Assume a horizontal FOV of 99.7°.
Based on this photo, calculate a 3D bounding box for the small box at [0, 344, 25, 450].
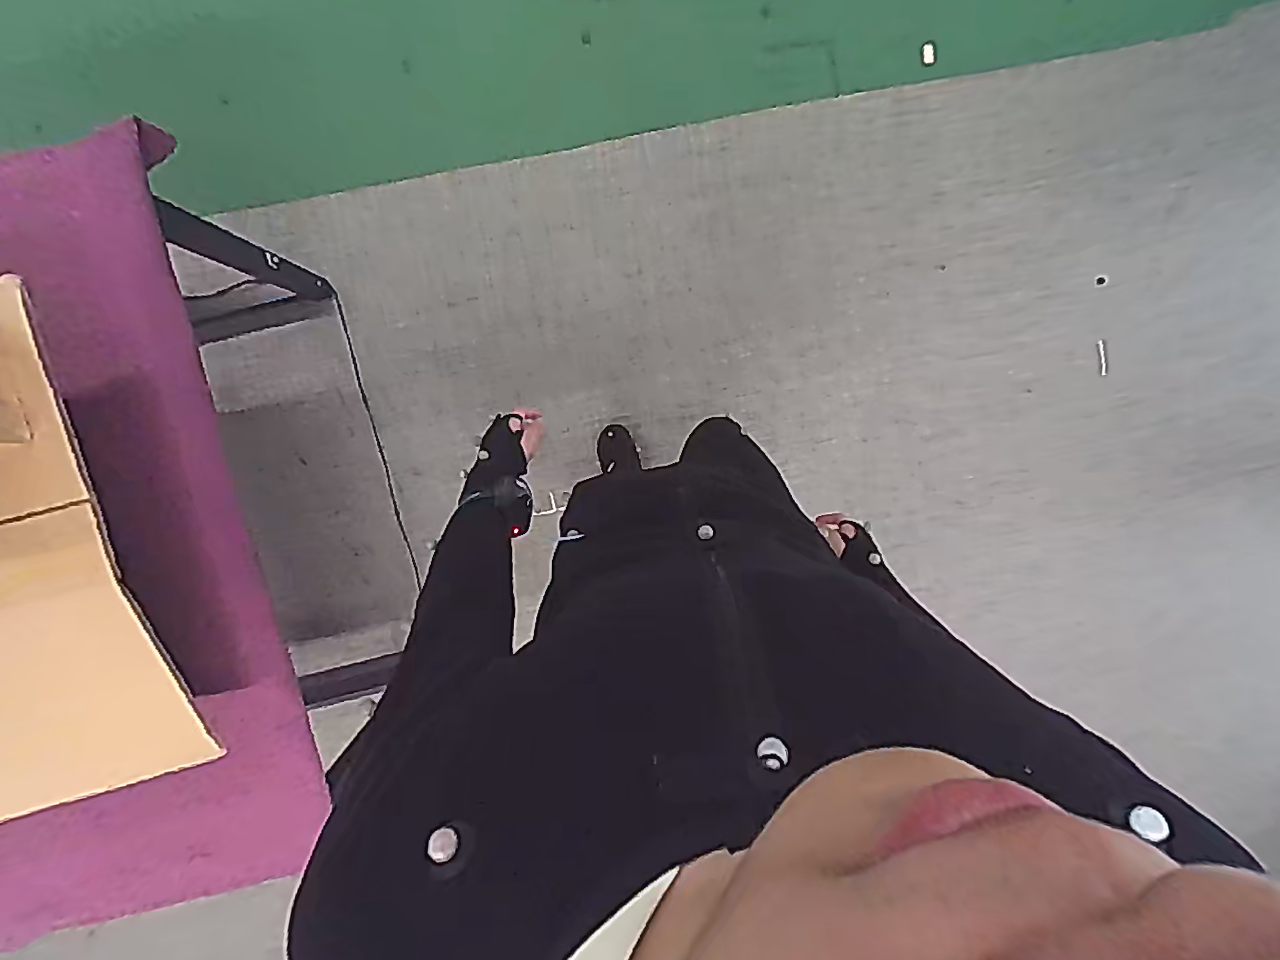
[{"bbox_3d":[-0.858,-0.099,0.585,0.179,0.176,0.168,-15,94,-3],"label":"small box"}]
